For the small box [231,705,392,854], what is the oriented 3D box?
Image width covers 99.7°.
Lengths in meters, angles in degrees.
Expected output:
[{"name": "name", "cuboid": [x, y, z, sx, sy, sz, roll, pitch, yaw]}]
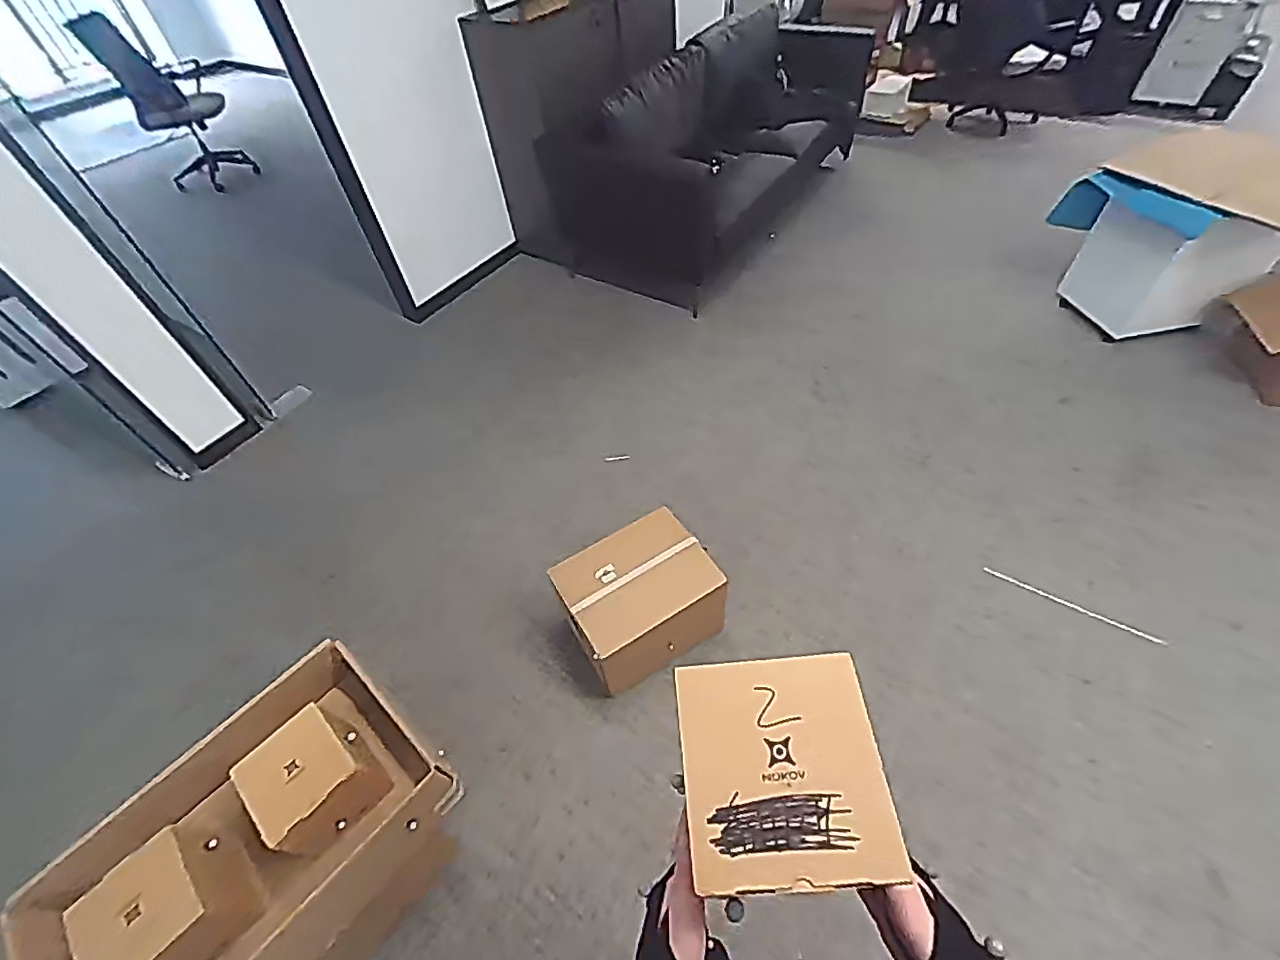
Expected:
[{"name": "small box", "cuboid": [-0.611, 0.570, 1.021, 0.179, 0.176, 0.168, 34, 61, 27]}]

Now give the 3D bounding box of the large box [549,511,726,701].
[{"name": "large box", "cuboid": [0.001, 0.368, 1.592, 0.408, 0.320, 0.320, -28, 53, -16]}]

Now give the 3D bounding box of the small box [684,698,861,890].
[{"name": "small box", "cuboid": [0.145, 0.379, 0.653, 0.168, 0.176, 0.179, -6, 53, 3]}]
